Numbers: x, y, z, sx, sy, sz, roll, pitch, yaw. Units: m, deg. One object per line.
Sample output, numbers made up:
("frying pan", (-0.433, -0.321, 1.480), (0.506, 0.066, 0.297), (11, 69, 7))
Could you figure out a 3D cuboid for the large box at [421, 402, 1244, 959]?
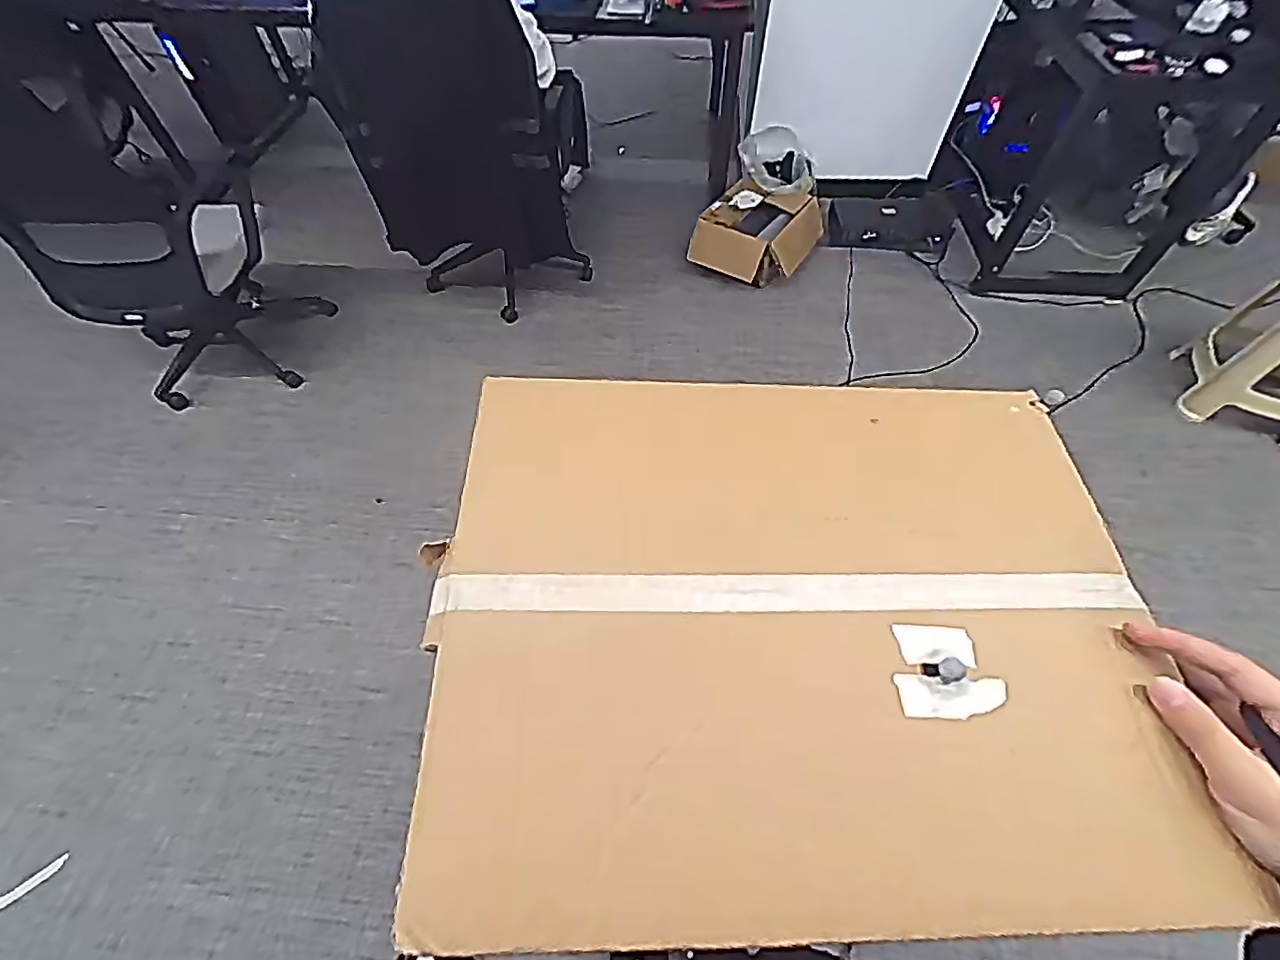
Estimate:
("large box", (0.083, 0.153, 0.450), (0.408, 0.320, 0.320), (1, 60, -4))
